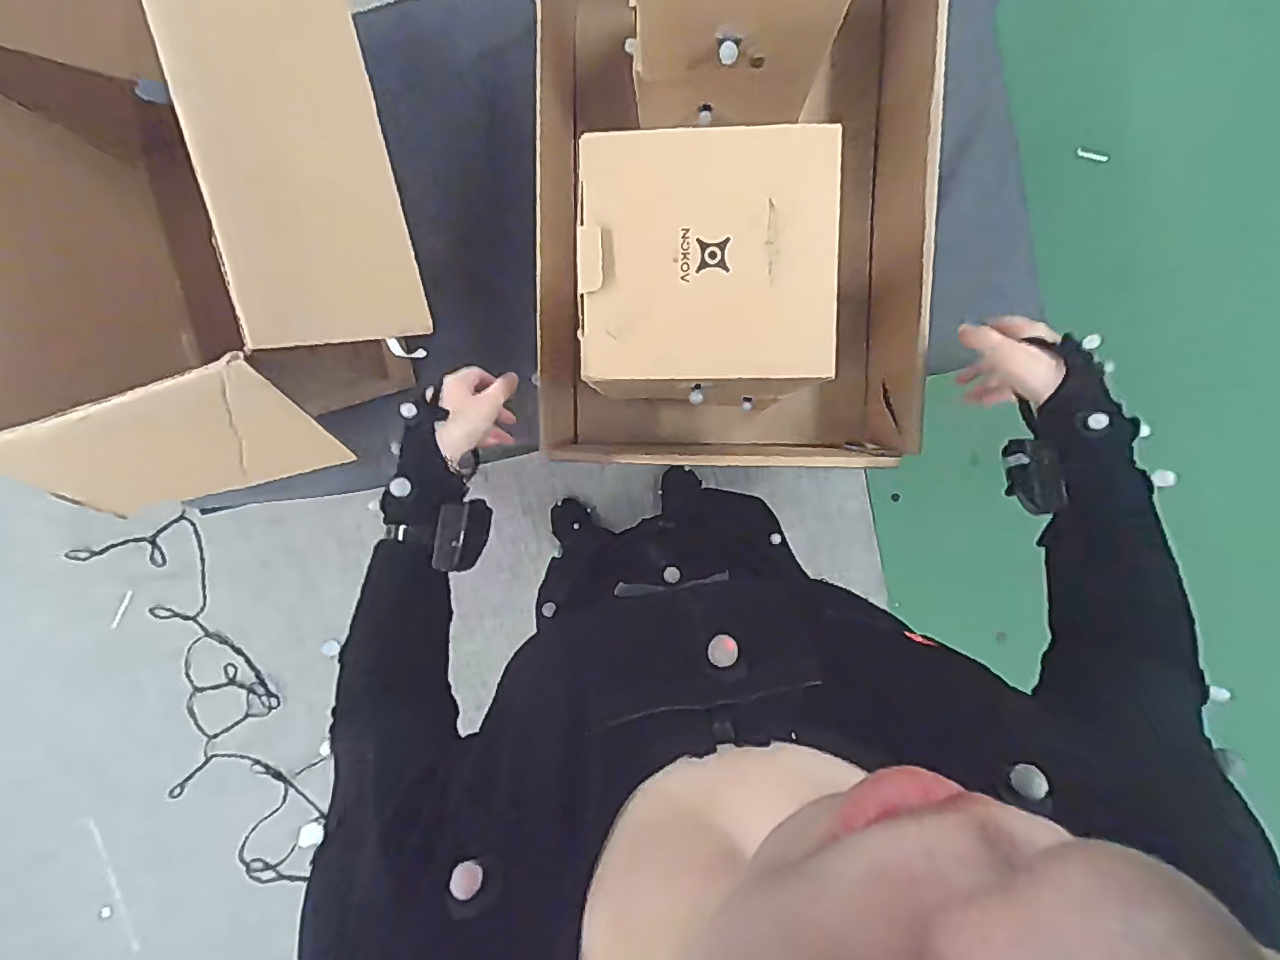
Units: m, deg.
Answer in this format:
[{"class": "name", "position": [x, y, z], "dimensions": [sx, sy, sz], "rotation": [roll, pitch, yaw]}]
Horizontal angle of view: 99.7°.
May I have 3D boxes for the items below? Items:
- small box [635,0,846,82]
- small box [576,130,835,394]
[{"class": "small box", "position": [0.078, -0.450, 0.416], "dimensions": [0.168, 0.176, 0.179], "rotation": [1, 97, 4]}, {"class": "small box", "position": [0.049, -0.159, 0.451], "dimensions": [0.179, 0.176, 0.168], "rotation": [0, 96, 3]}]
